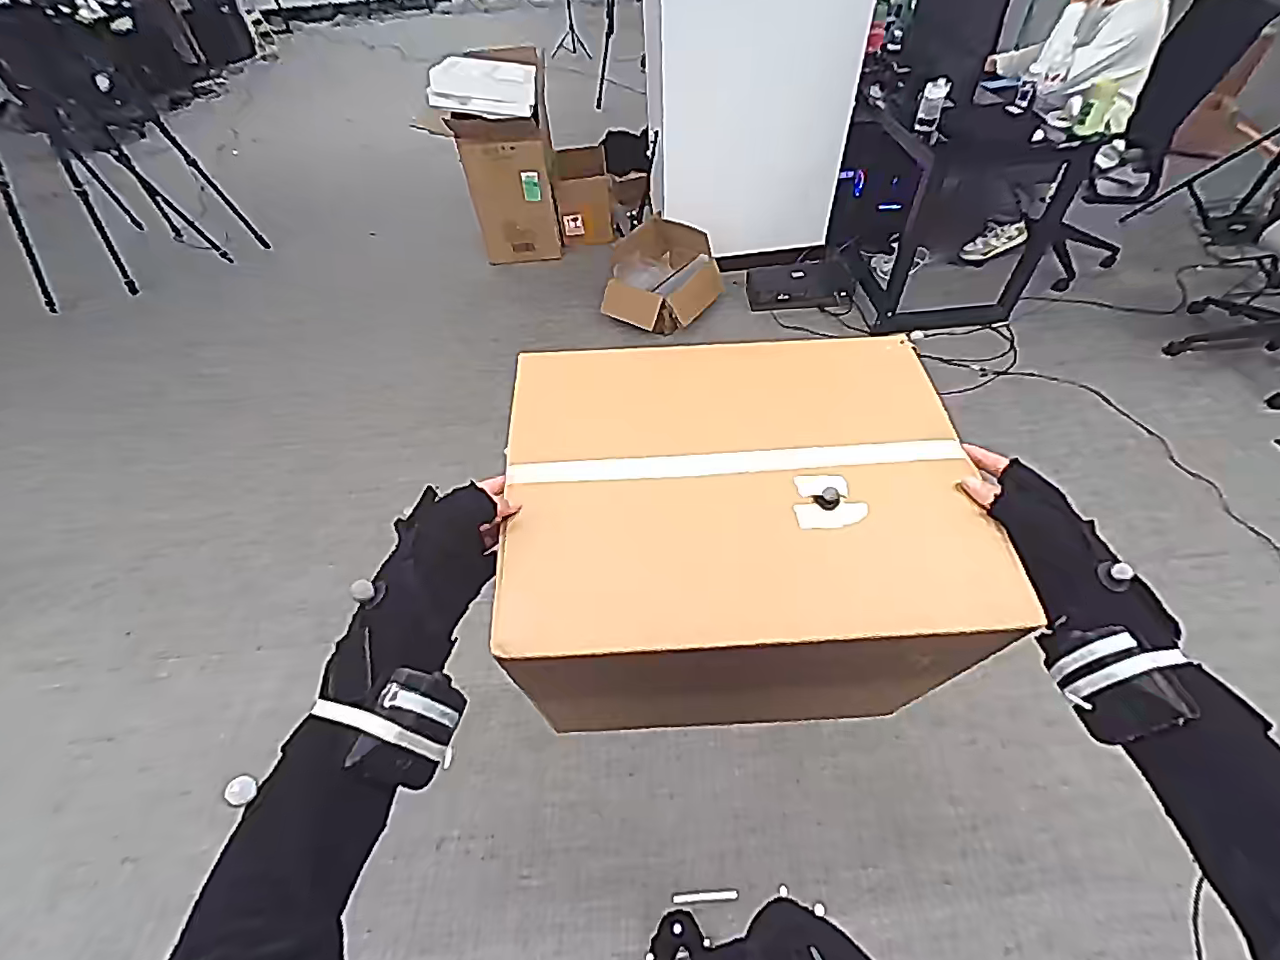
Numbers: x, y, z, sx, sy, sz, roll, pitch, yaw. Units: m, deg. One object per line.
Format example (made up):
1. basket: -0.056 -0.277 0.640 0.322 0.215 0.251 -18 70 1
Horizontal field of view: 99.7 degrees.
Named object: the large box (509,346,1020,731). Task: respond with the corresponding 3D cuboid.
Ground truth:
1. large box: 0.087 0.077 0.614 0.408 0.320 0.320 -3 56 -1
